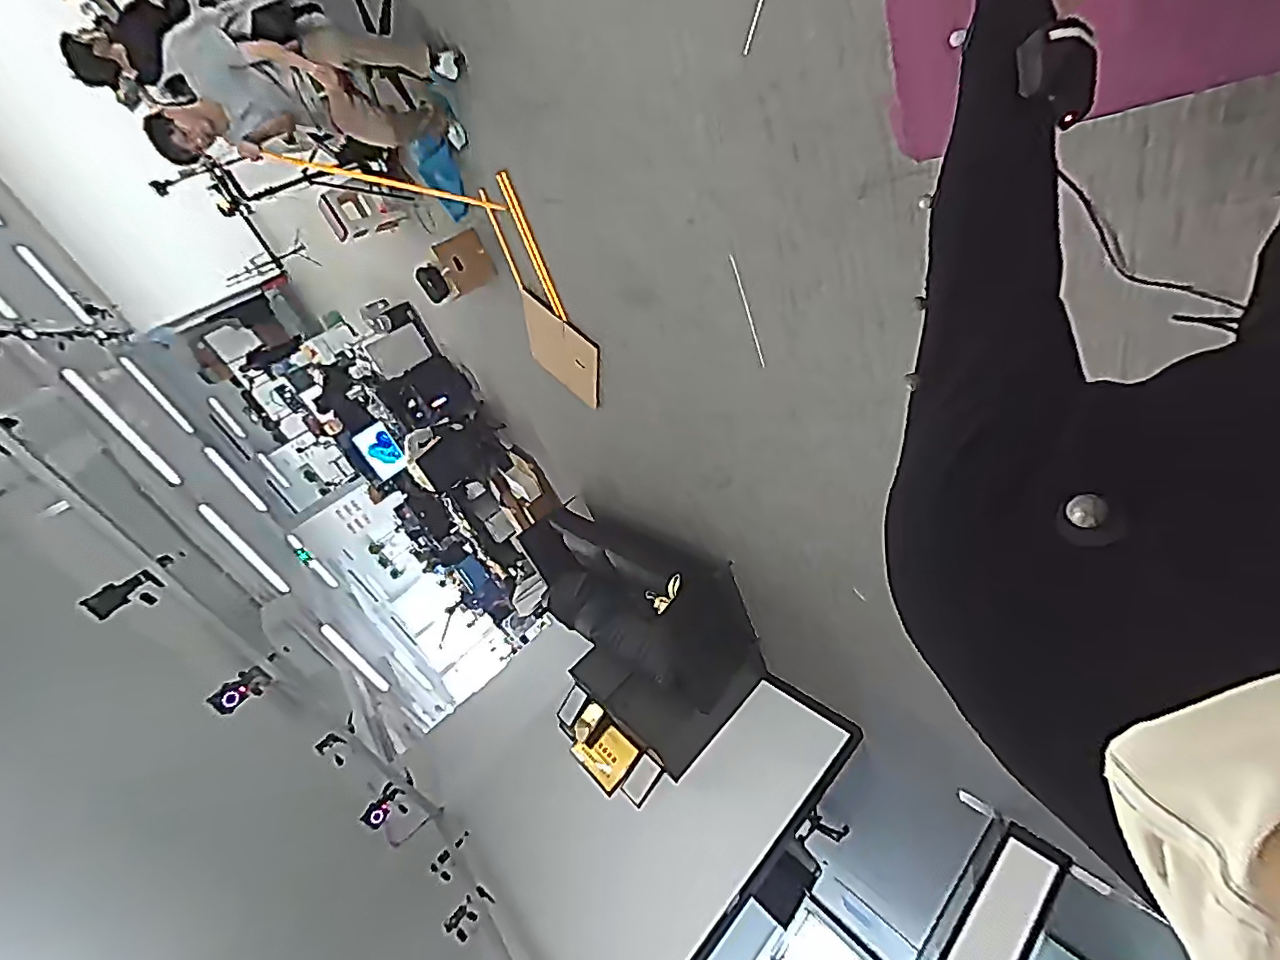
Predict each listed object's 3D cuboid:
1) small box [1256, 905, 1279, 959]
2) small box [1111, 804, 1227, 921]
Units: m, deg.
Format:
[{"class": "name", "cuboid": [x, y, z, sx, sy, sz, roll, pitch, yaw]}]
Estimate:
[{"class": "small box", "cuboid": [1.593, 1.103, 1.244, 0.168, 0.176, 0.179, 28, 147, 44]}, {"class": "small box", "cuboid": [1.409, 1.012, 1.442, 0.168, 0.176, 0.179, 28, 149, 45]}]
